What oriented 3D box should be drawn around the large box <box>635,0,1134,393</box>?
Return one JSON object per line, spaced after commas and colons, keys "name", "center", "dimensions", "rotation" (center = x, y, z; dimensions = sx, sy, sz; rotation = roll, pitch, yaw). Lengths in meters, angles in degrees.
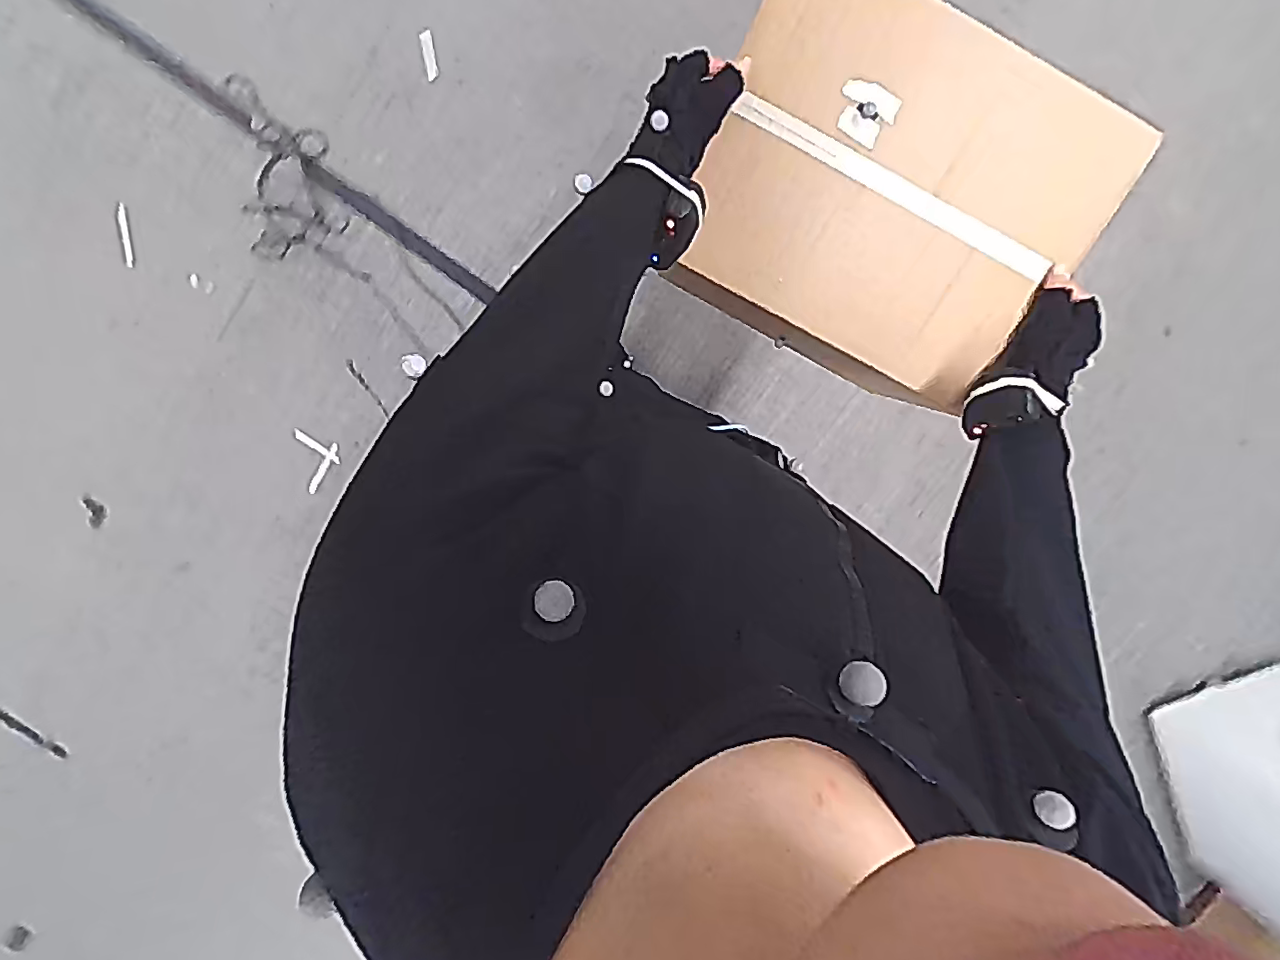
{"name": "large box", "center": [0.248, -0.346, 0.694], "dimensions": [0.408, 0.320, 0.320], "rotation": [26, 104, -3]}
